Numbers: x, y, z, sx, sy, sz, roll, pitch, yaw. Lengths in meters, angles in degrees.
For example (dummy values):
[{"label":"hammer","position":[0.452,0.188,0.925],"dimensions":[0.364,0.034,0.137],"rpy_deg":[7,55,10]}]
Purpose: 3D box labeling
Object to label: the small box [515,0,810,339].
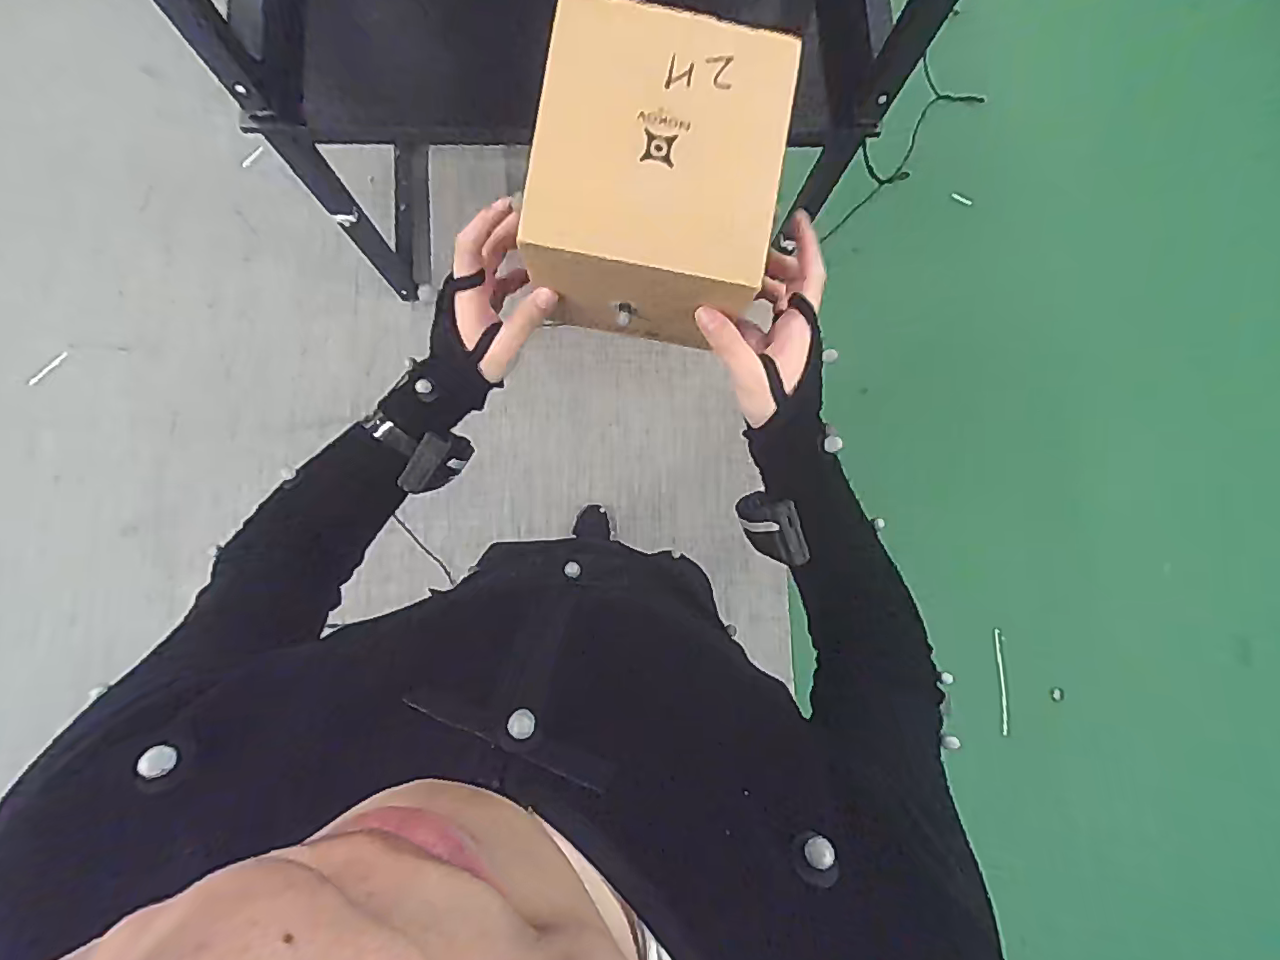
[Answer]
[{"label":"small box","position":[0.011,-0.226,0.427],"dimensions":[0.168,0.176,0.179],"rpy_deg":[11,89,-4]}]
